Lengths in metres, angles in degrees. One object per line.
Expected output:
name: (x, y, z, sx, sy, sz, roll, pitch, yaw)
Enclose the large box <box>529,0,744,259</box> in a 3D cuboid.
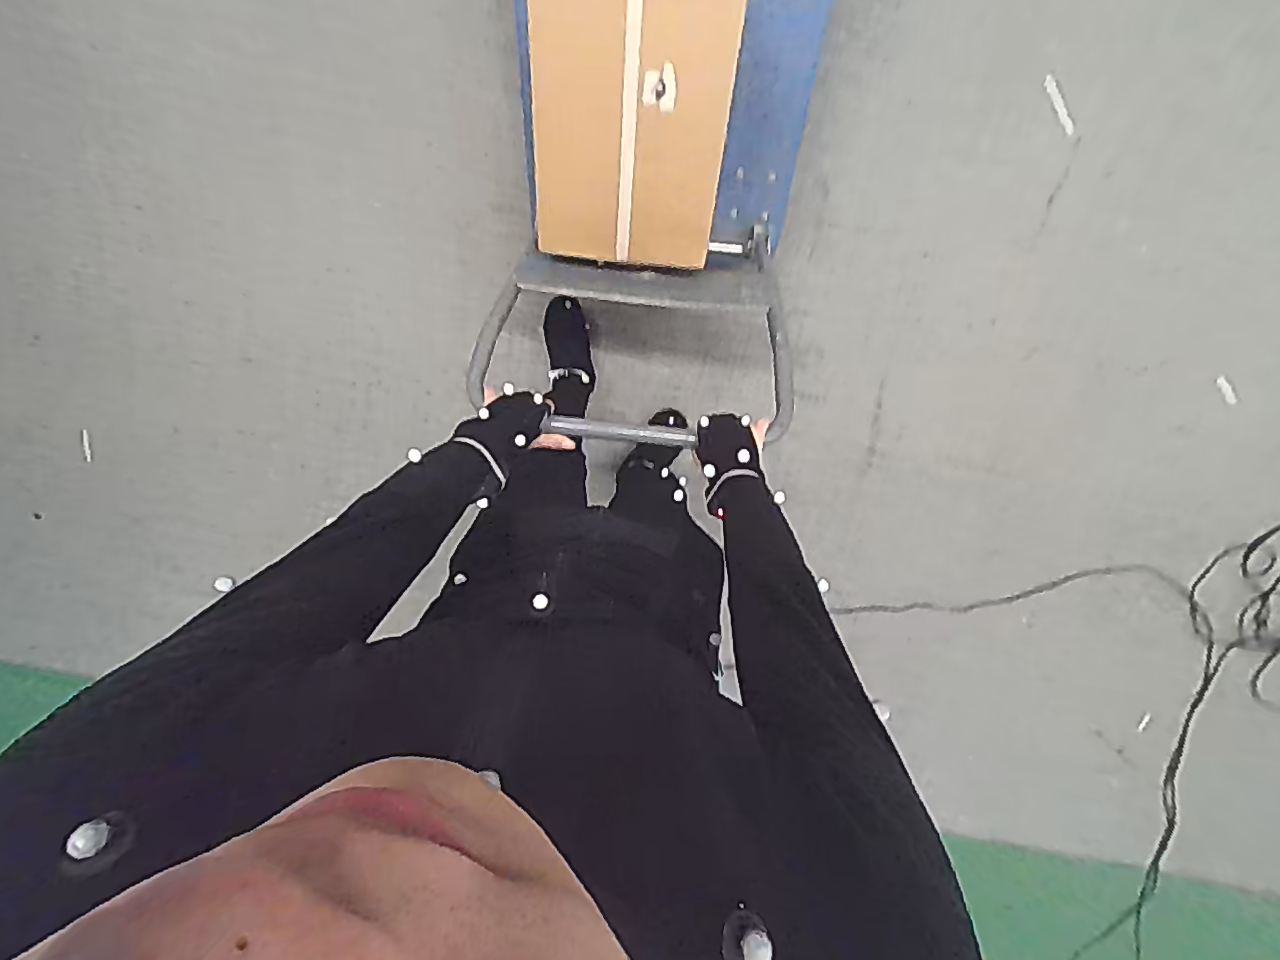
large box: (-0.004, -0.666, 0.982, 0.320, 0.320, 0.408, 6, 131, 0)
